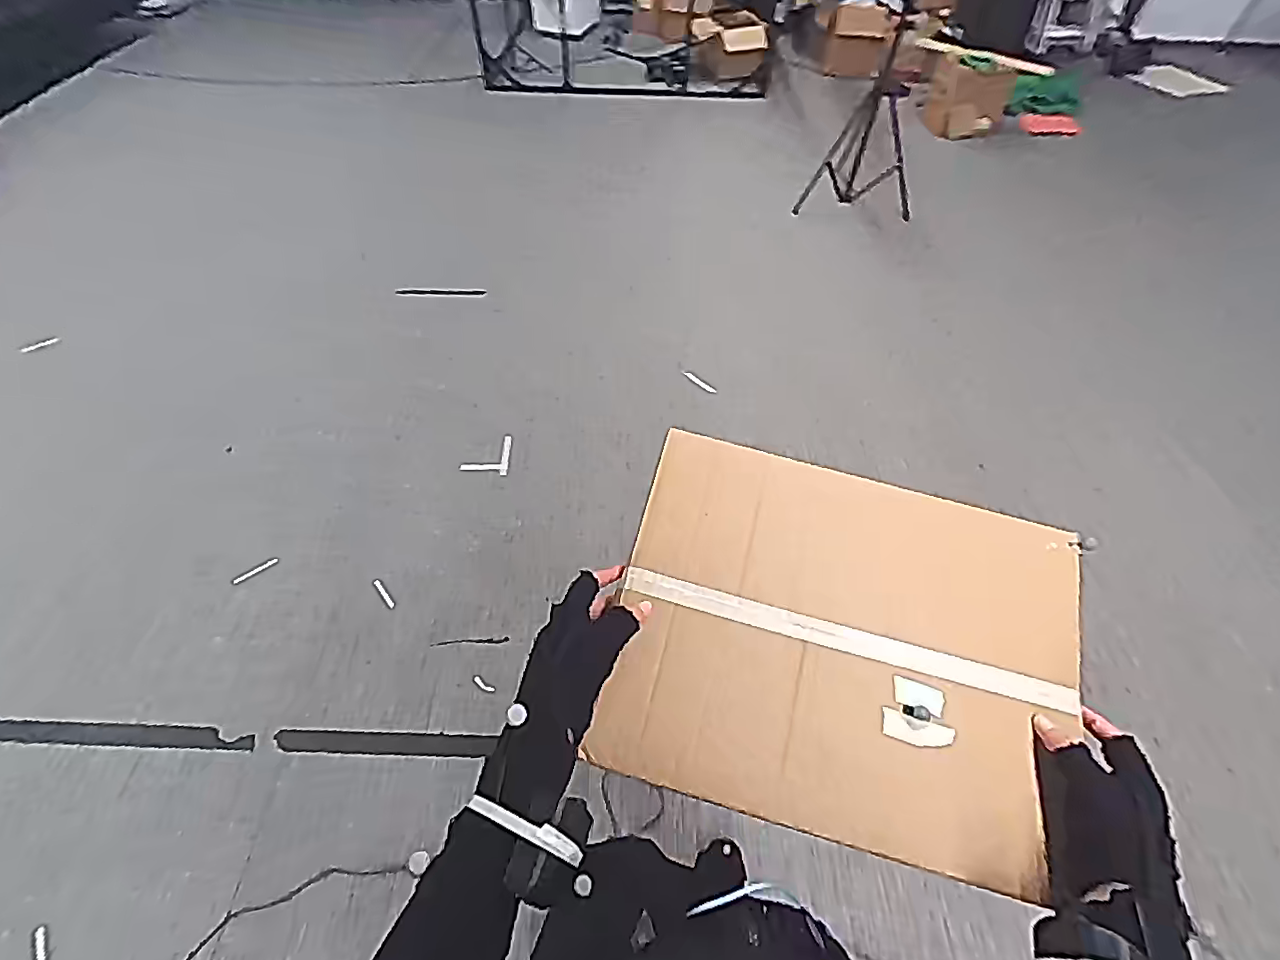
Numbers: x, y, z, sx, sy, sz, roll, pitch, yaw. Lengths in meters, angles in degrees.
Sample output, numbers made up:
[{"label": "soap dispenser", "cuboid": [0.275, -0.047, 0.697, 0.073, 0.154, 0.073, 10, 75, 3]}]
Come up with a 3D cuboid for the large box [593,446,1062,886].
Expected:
[{"label": "large box", "cuboid": [0.181, 0.197, 0.640, 0.408, 0.320, 0.320, 15, 72, 4]}]
